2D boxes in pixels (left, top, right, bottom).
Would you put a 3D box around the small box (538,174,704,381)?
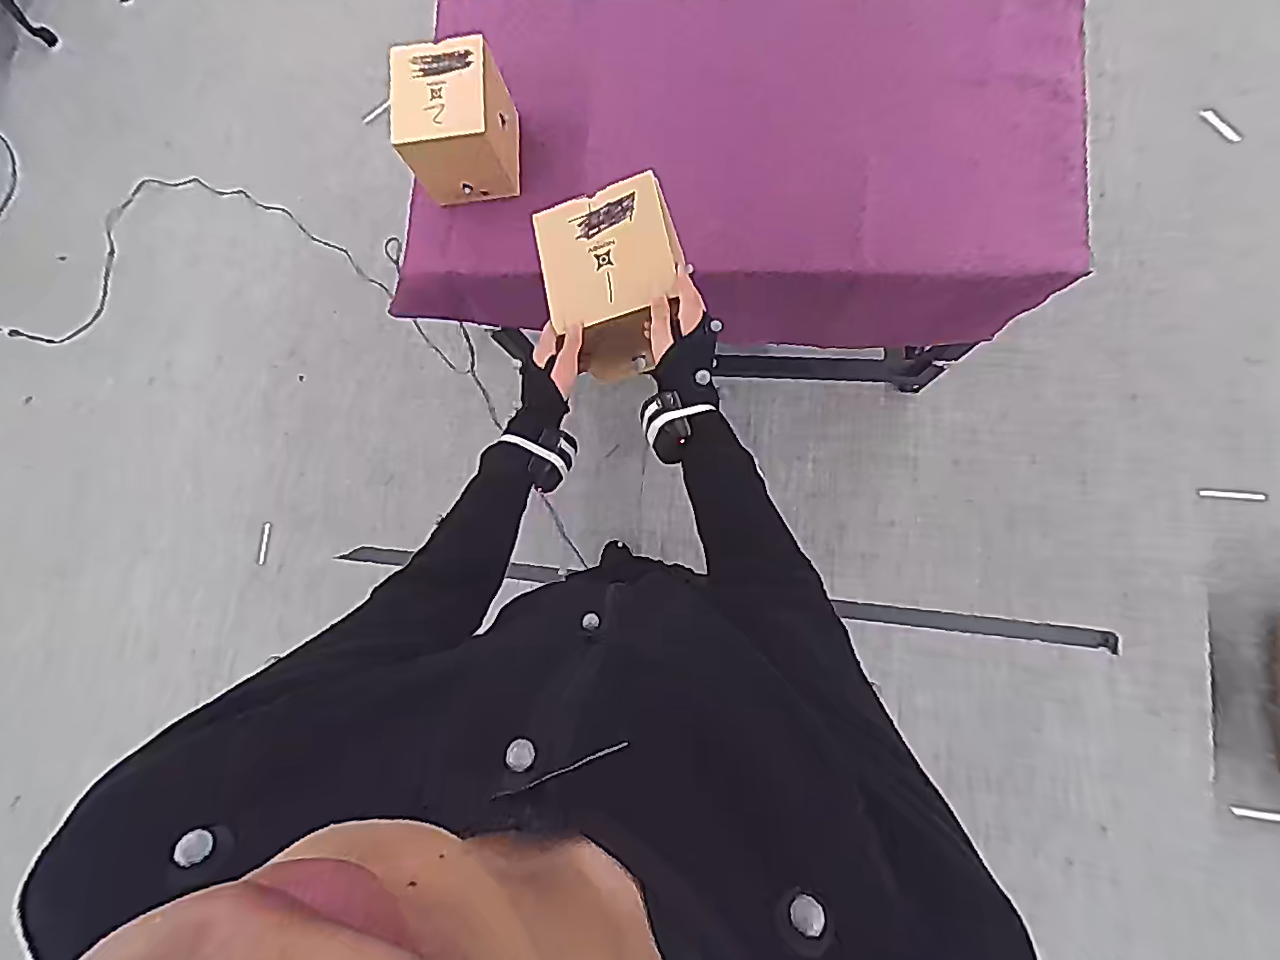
[{"bbox_3d":[-0.020,-0.259,0.731,0.168,0.176,0.179,-14,76,14],"label":"small box"}]
